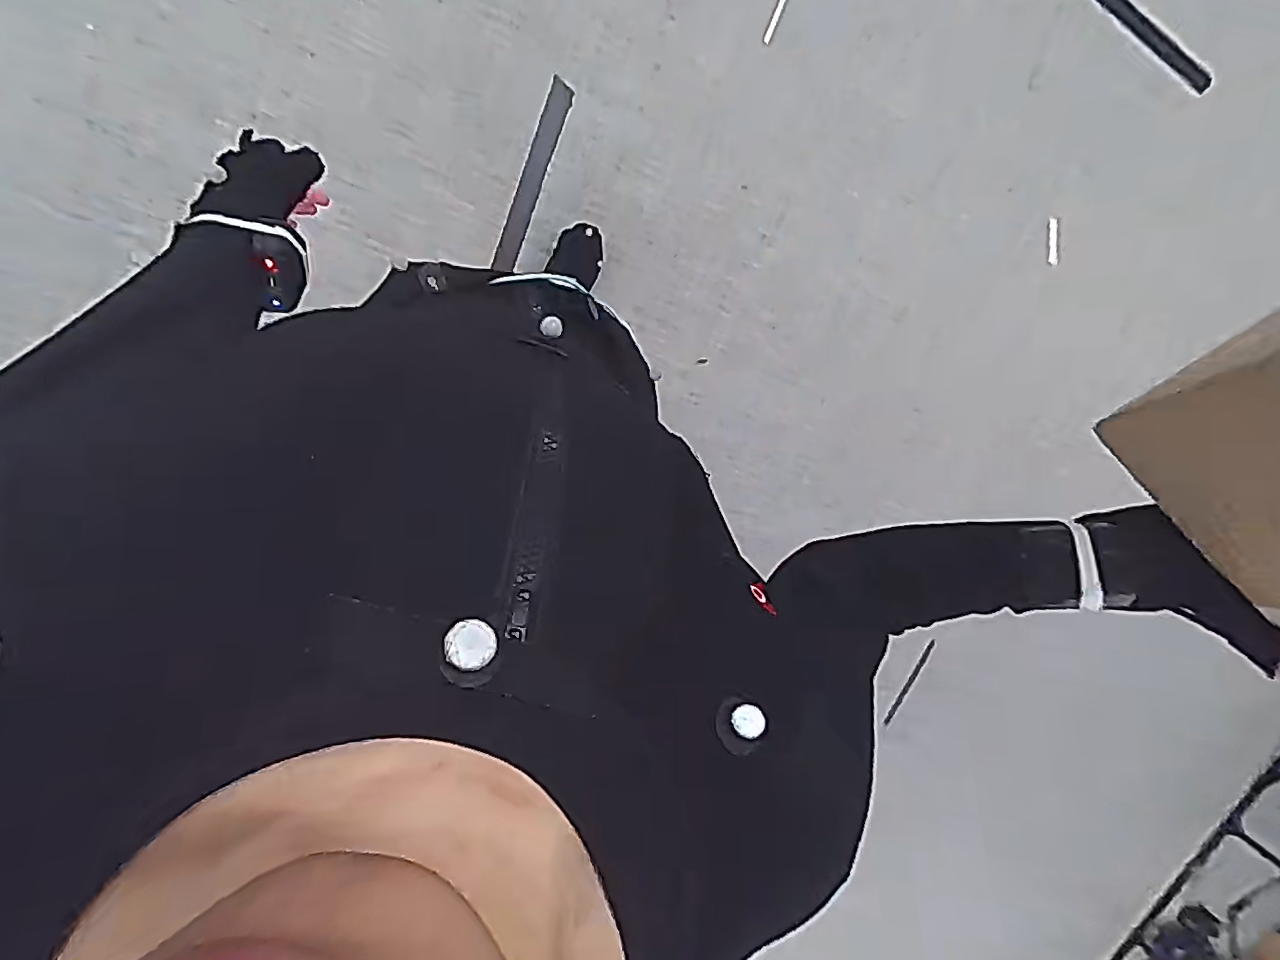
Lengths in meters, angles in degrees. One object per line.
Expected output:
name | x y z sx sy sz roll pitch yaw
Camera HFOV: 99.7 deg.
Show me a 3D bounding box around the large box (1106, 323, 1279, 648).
large box | 0.478 -0.012 0.143 0.320 0.408 0.320 -33 77 12
